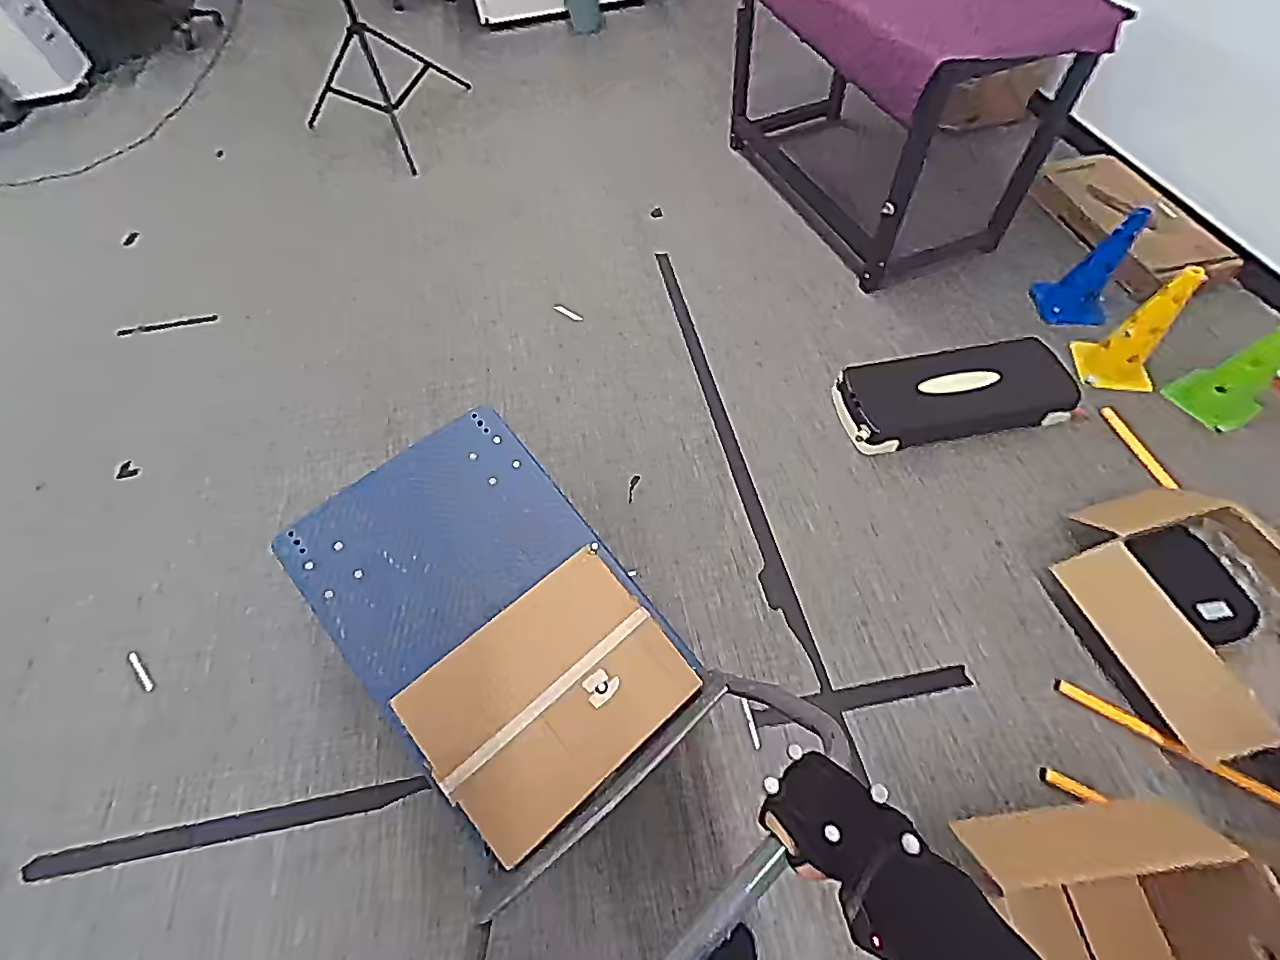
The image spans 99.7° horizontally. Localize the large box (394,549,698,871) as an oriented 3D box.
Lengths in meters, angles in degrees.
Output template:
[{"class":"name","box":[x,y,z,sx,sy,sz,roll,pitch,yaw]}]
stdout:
[{"class":"large box","box":[-0.164,0.400,1.017,0.408,0.320,0.320,-38,81,-18]}]
